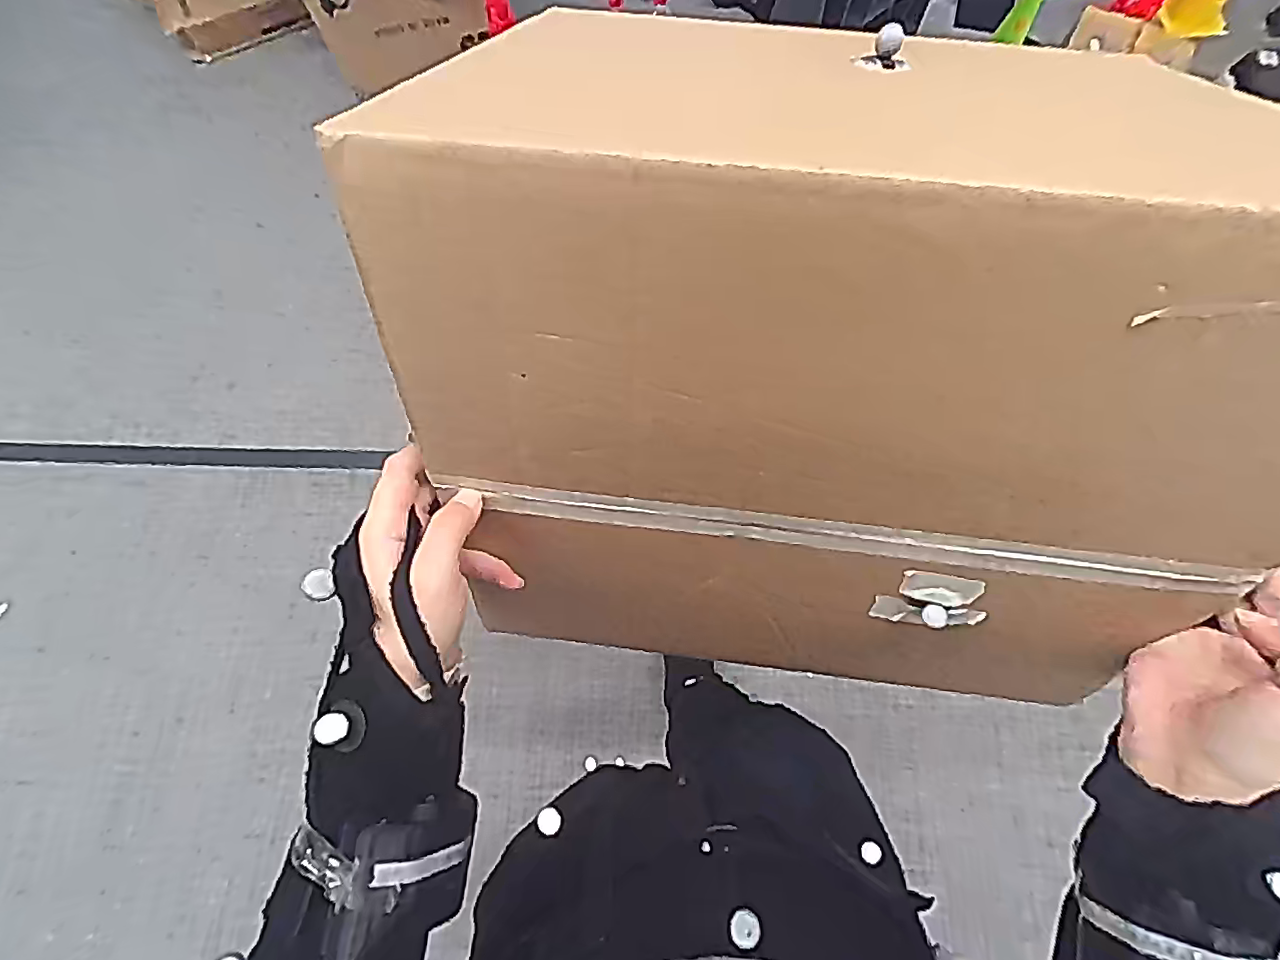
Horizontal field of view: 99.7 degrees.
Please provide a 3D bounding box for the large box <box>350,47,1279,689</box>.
[{"bbox_3d":[0.106,-0.085,0.381,0.408,0.320,0.320,6,47,3],"label":"large box"}]
